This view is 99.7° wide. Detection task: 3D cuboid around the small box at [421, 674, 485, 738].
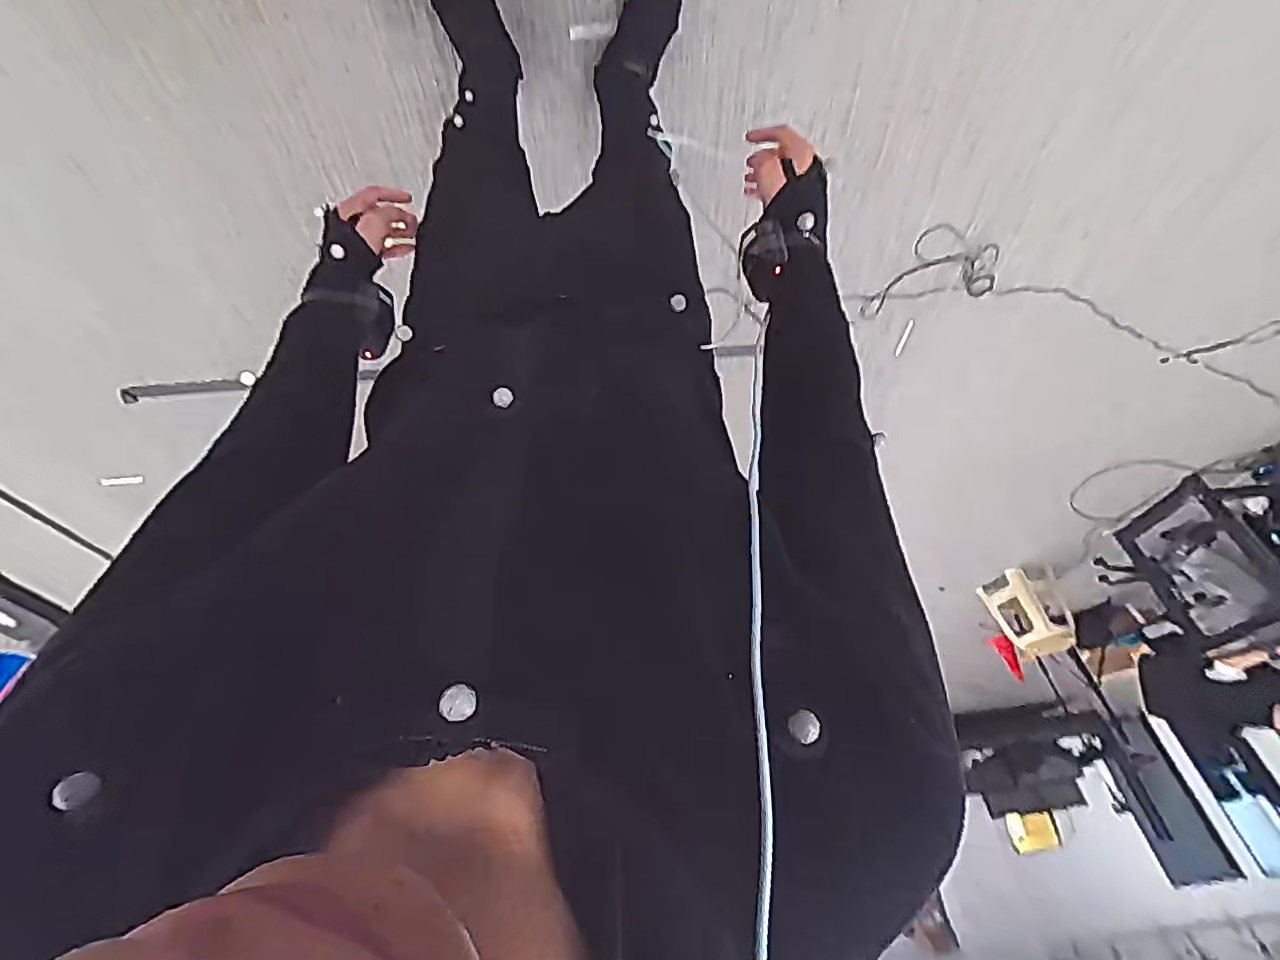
[{"bbox_3d":[-0.662,0.806,1.932,0.179,0.176,0.168,-4,143,-5],"label":"small box"}]
